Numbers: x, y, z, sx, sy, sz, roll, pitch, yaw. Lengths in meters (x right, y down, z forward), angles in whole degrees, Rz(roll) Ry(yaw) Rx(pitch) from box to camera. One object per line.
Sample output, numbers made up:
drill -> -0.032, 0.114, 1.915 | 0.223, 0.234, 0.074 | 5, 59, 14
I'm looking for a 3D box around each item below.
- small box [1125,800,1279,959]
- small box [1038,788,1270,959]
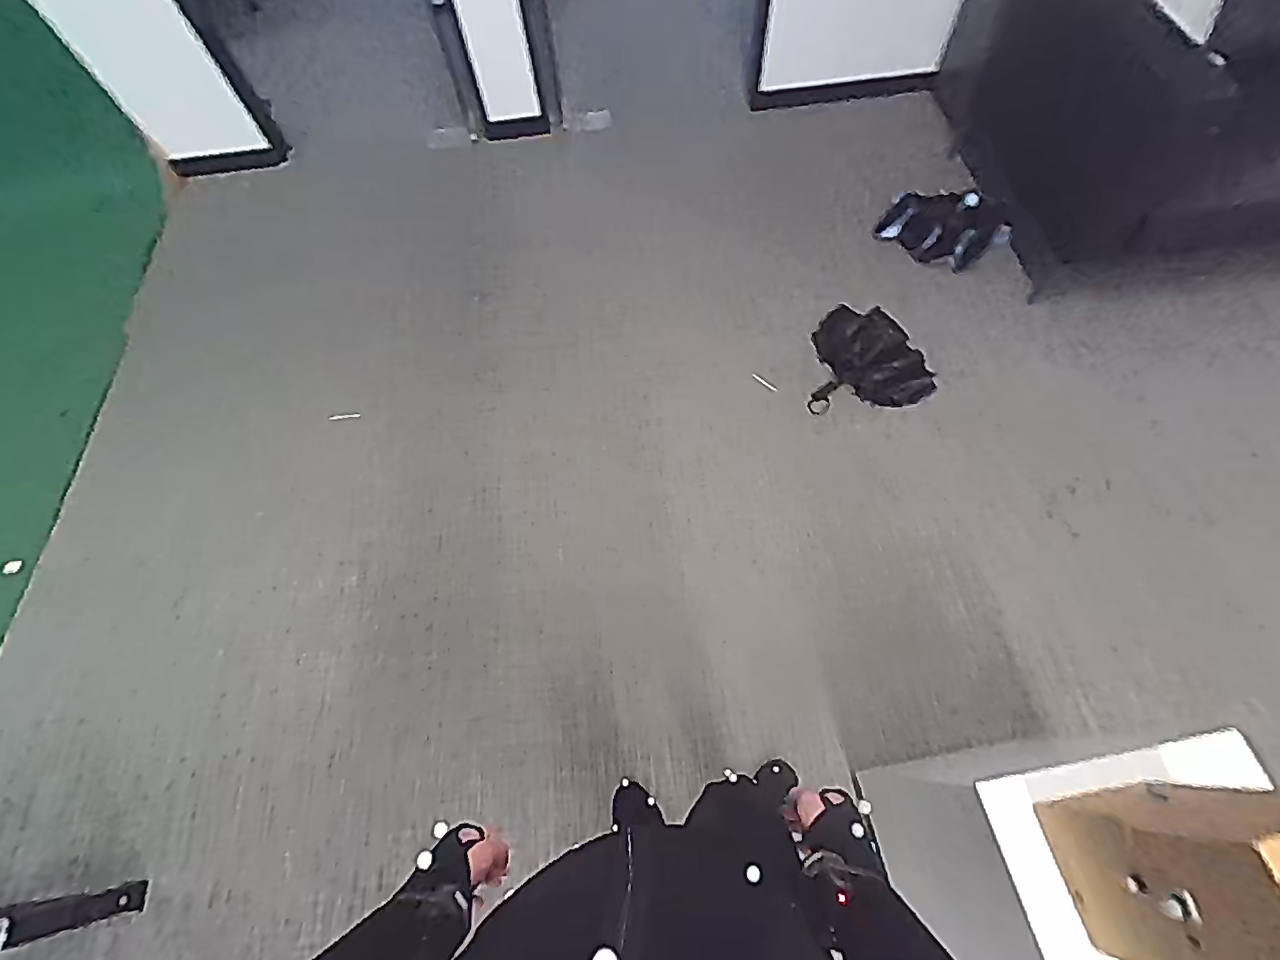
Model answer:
small box -> 0.622, 0.406, 0.494 | 0.179, 0.176, 0.168 | -12, 63, -2
small box -> 0.636, 0.475, 0.640 | 0.179, 0.176, 0.168 | -10, 64, -2
